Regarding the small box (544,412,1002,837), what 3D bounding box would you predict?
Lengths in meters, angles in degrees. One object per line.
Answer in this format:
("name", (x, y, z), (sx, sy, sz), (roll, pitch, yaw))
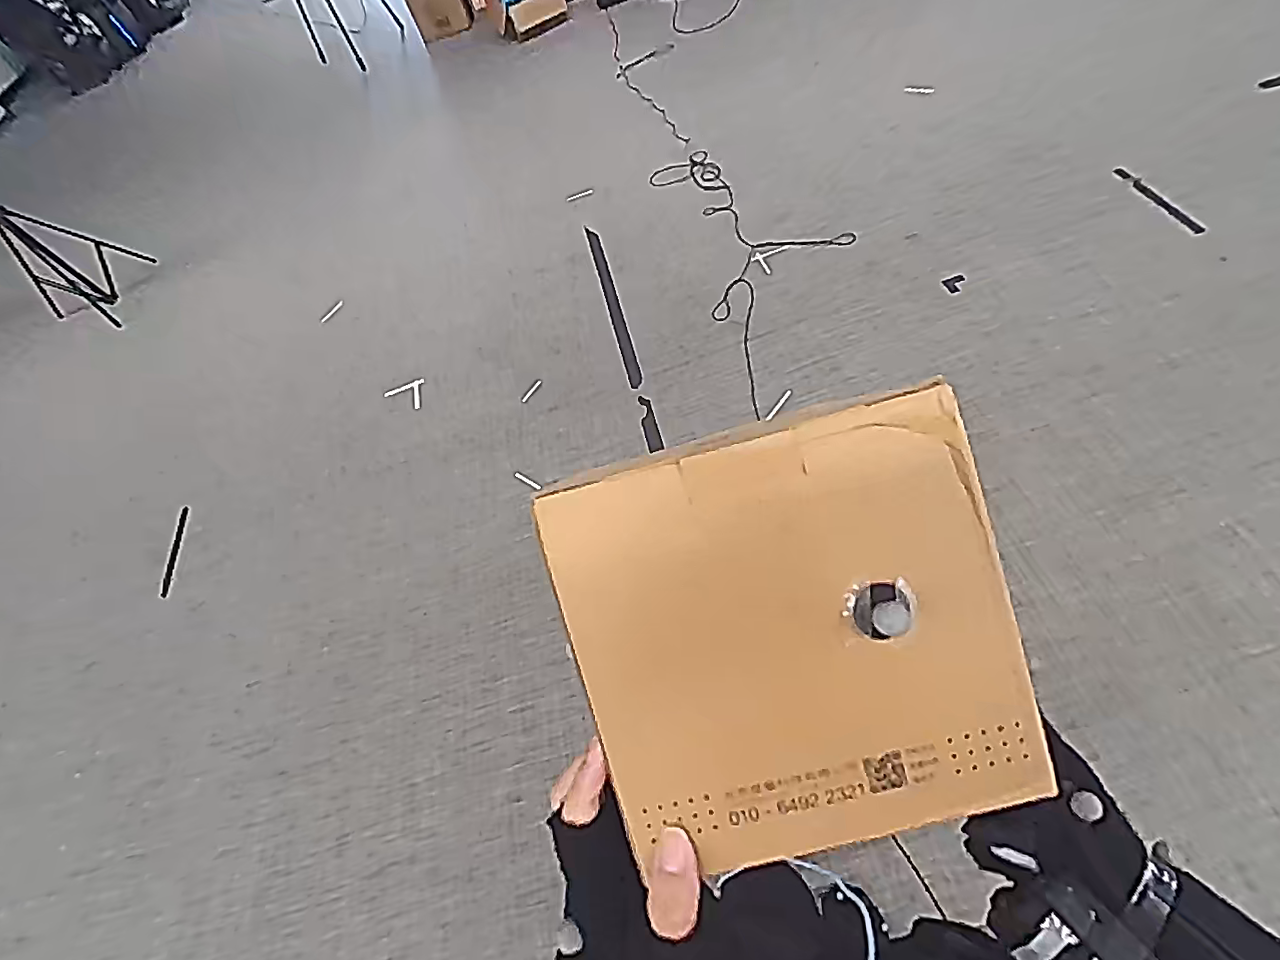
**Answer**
("small box", (0.065, 0.068, 0.310), (0.168, 0.179, 0.176), (-16, 93, 6))
